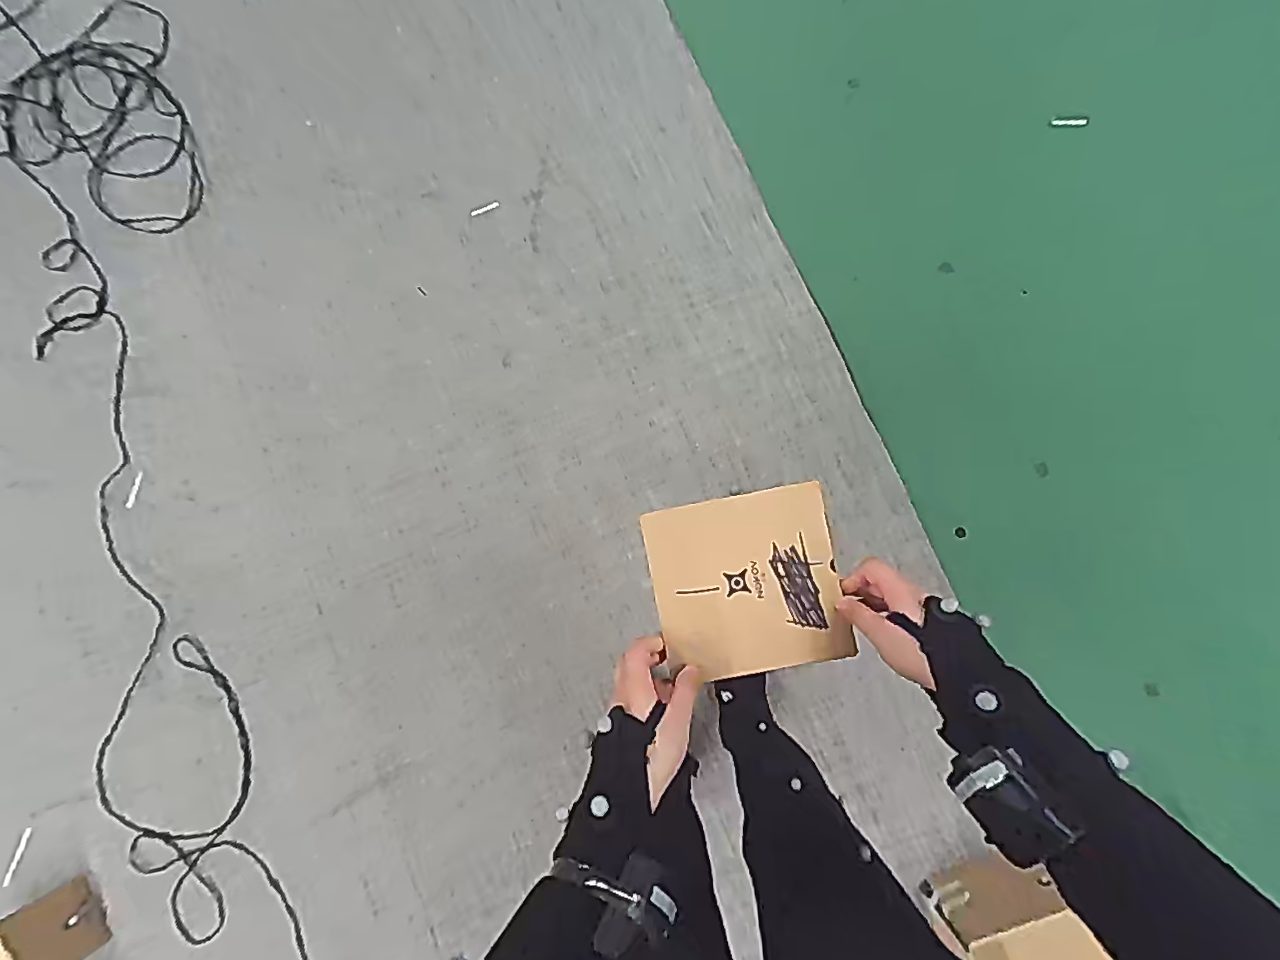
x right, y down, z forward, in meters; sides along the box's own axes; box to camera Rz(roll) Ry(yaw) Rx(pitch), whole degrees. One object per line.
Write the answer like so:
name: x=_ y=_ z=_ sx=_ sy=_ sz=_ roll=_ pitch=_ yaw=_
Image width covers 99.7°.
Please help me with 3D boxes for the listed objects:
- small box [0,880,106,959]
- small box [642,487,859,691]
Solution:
small box: x=-1.321 y=1.017 z=1.153 sx=0.179 sy=0.176 sz=0.168 roll=-32 pitch=84 yaw=0
small box: x=0.104 y=0.103 z=0.574 sx=0.179 sy=0.176 sz=0.168 roll=-11 pitch=85 yaw=4
